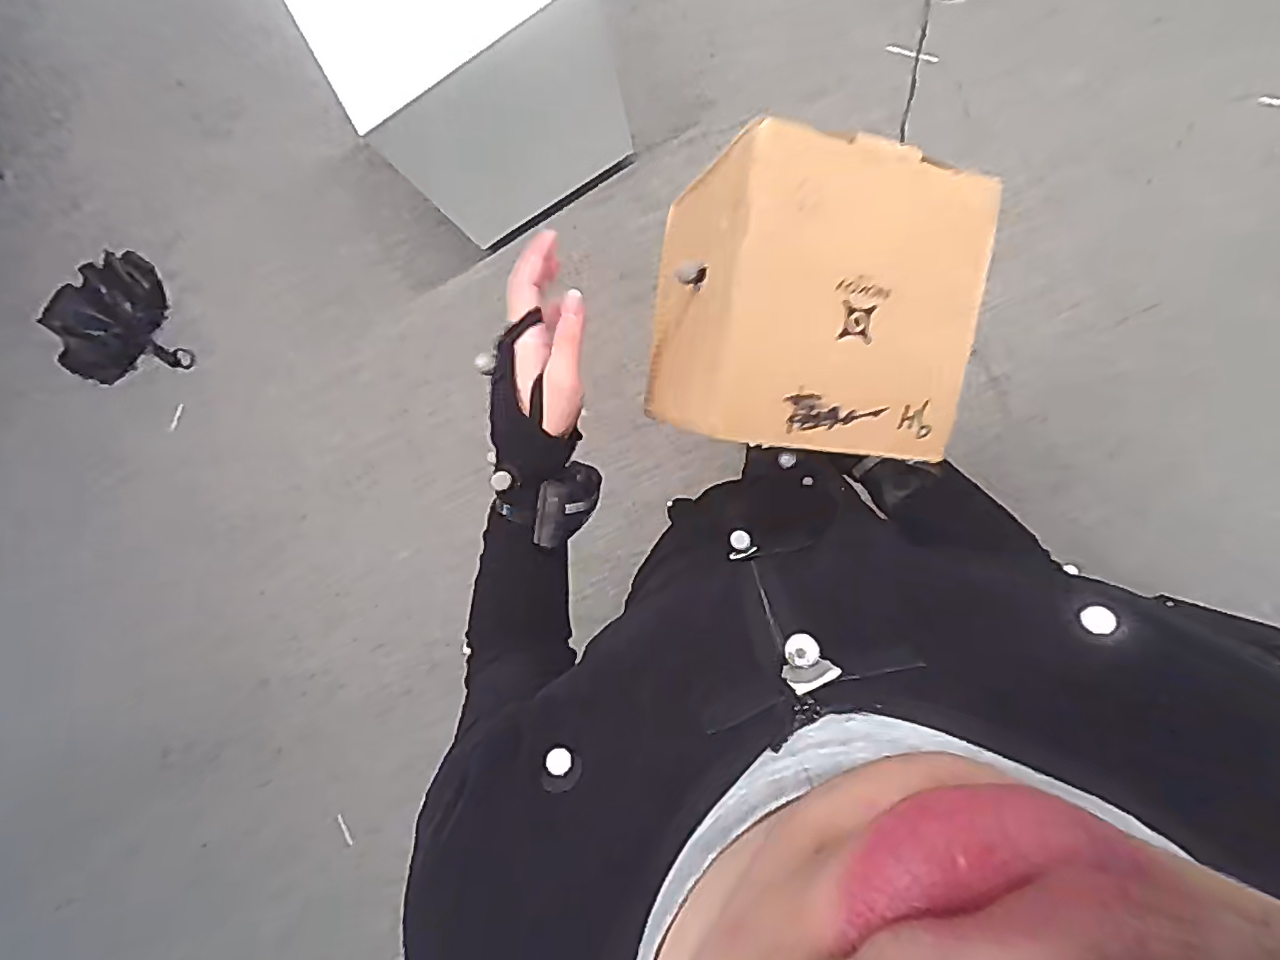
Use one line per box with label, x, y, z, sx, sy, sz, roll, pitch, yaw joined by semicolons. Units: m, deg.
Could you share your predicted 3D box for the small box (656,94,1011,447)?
small box;0.116;-0.123;0.390;0.168;0.176;0.179;4;98;-15
